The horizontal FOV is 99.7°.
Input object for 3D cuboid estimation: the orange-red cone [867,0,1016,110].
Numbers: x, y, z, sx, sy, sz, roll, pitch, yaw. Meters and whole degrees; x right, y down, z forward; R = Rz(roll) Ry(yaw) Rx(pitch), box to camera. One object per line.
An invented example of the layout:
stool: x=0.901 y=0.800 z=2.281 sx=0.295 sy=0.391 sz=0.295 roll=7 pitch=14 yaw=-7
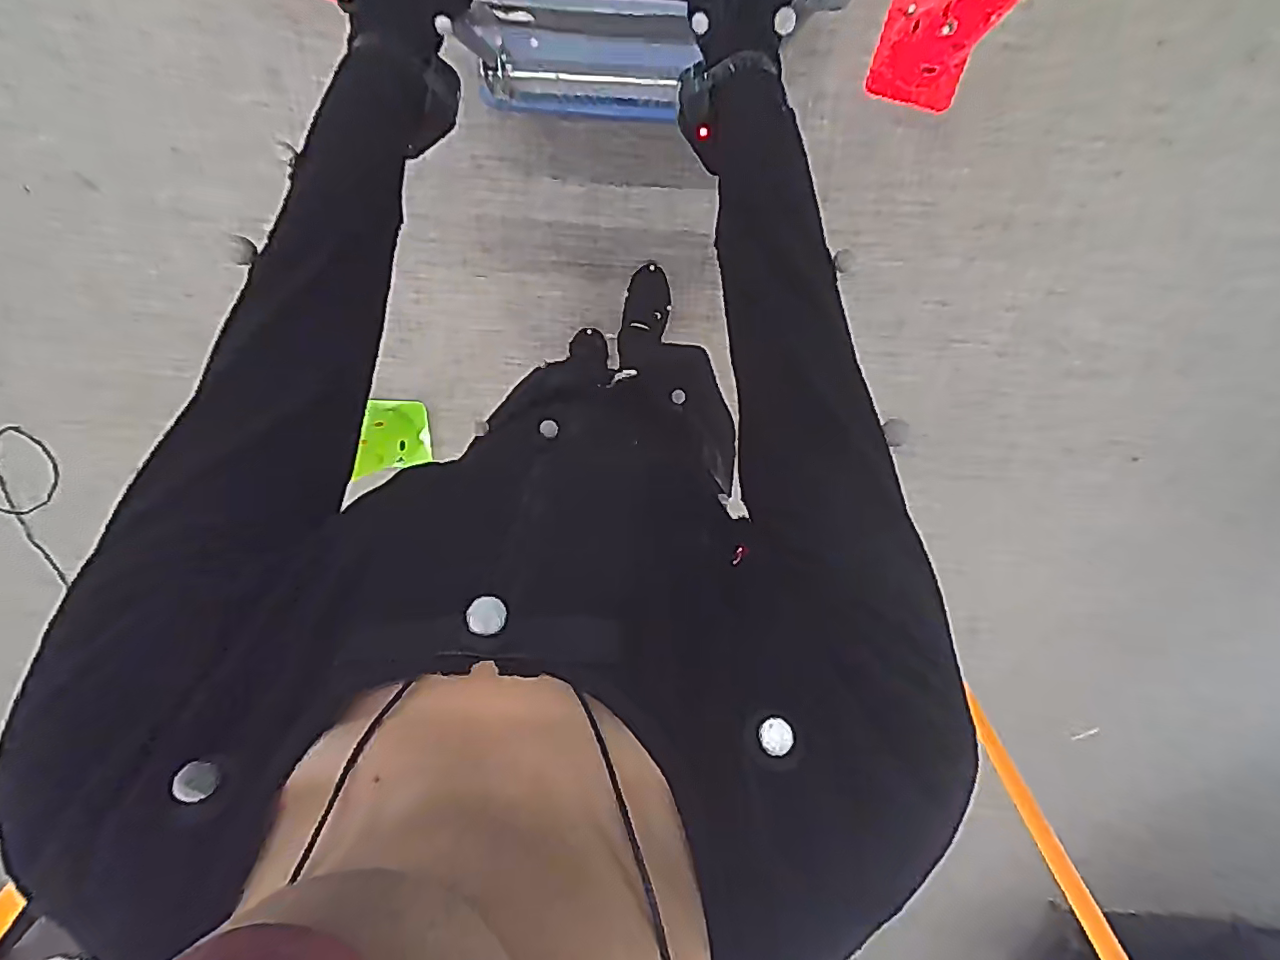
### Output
orange-red cone: x=0.602 y=-0.854 z=0.997 sx=0.198 sy=0.360 sz=0.199 roll=14 pitch=114 yaw=-4
